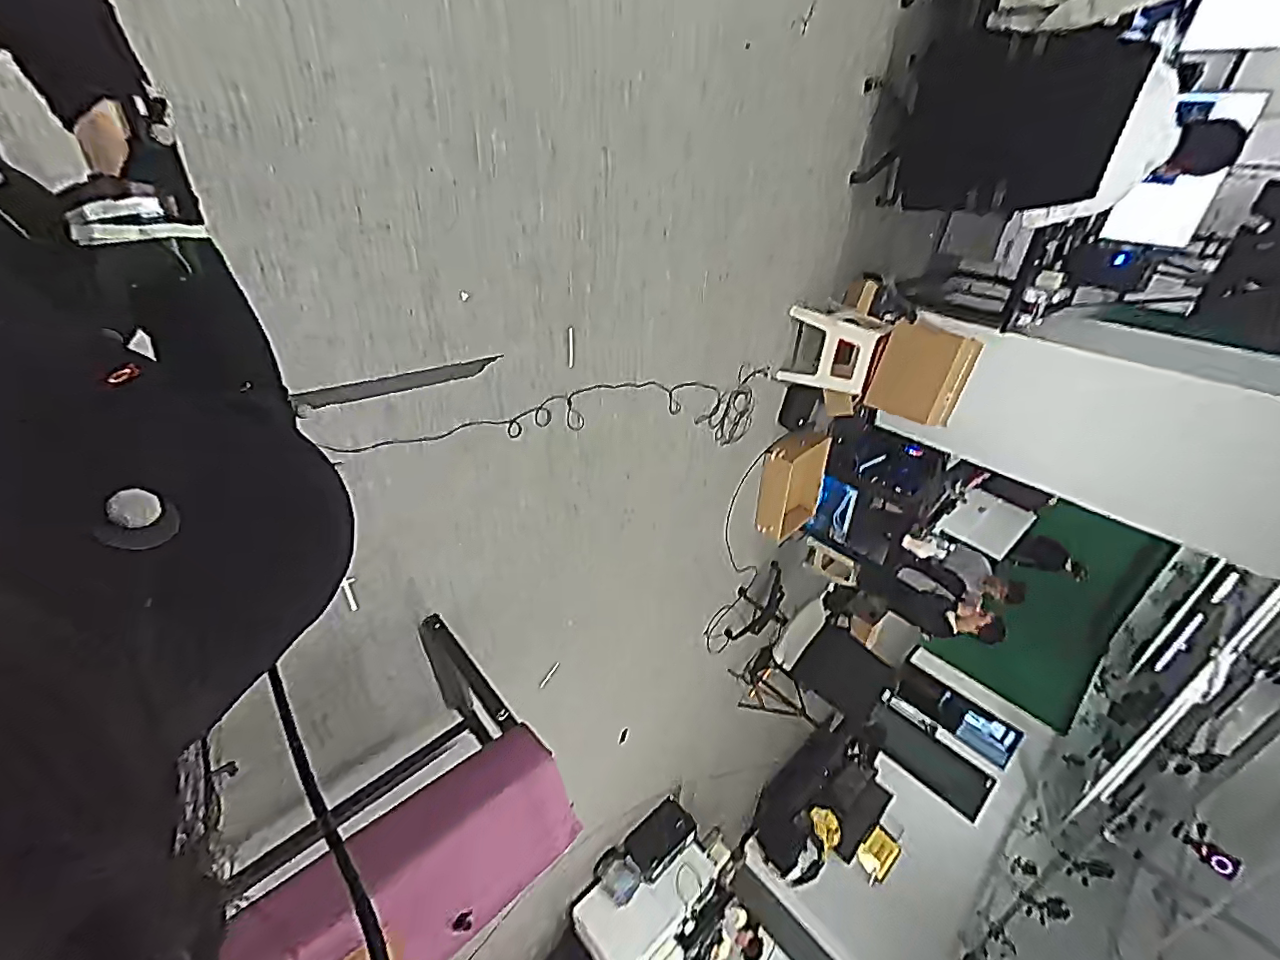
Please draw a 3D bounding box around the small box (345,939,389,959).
[{"bbox_3d":[-0.658,1.239,1.267,0.168,0.176,0.179,-20,129,-39],"label":"small box"}]
